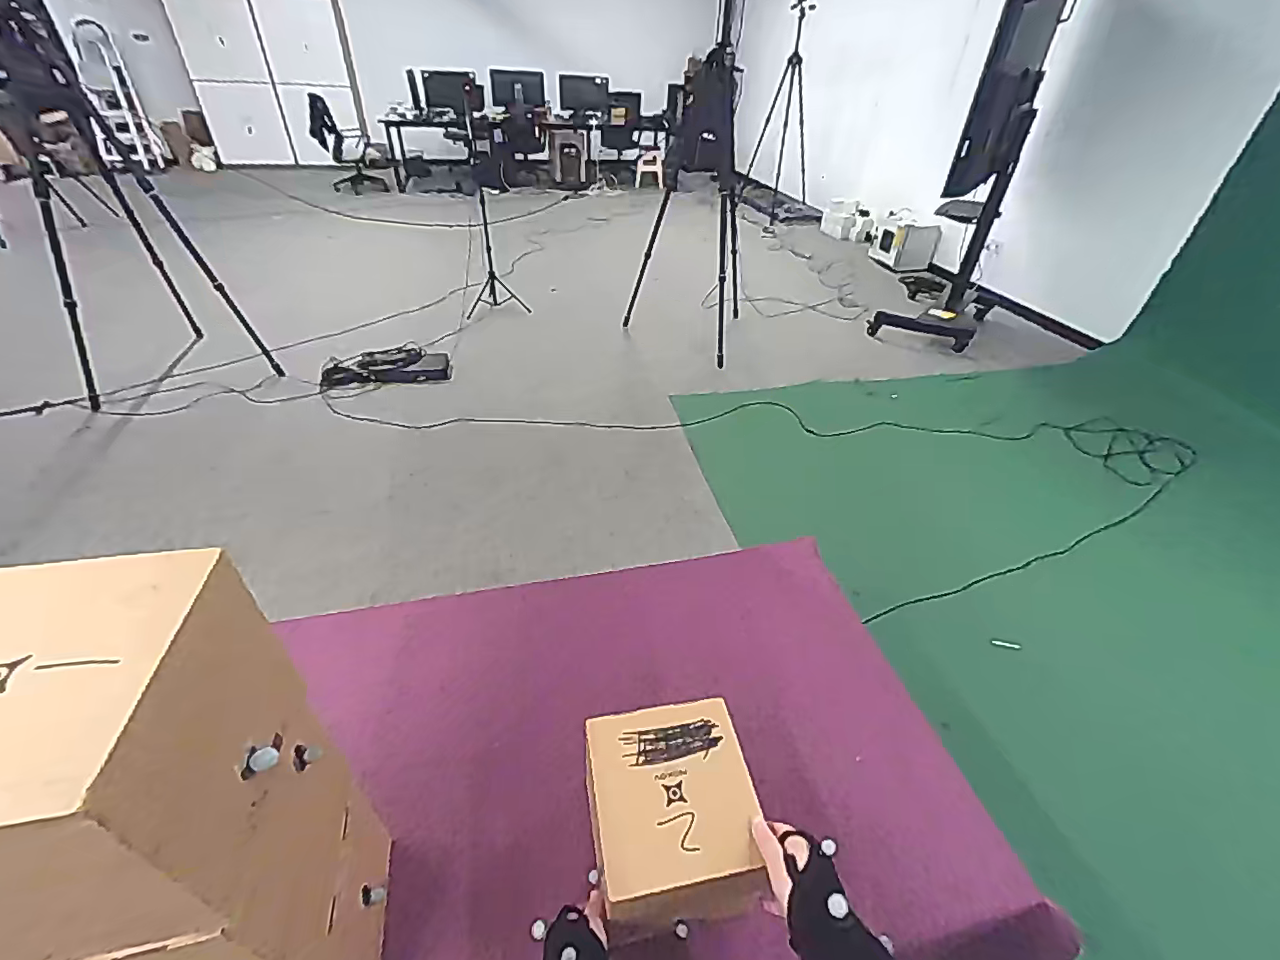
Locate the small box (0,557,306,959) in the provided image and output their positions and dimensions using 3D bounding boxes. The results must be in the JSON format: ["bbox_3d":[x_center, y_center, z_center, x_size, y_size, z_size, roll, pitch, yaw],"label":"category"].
[{"bbox_3d":[-0.343,0.172,0.329,0.179,0.176,0.168,-5,39,-11],"label":"small box"}]

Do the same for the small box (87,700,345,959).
[{"bbox_3d":[-0.354,0.302,0.429,0.168,0.176,0.179,-7,40,-12],"label":"small box"}]

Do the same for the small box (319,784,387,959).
[{"bbox_3d":[-0.360,0.434,0.528,0.179,0.176,0.168,-7,39,-14],"label":"small box"}]
